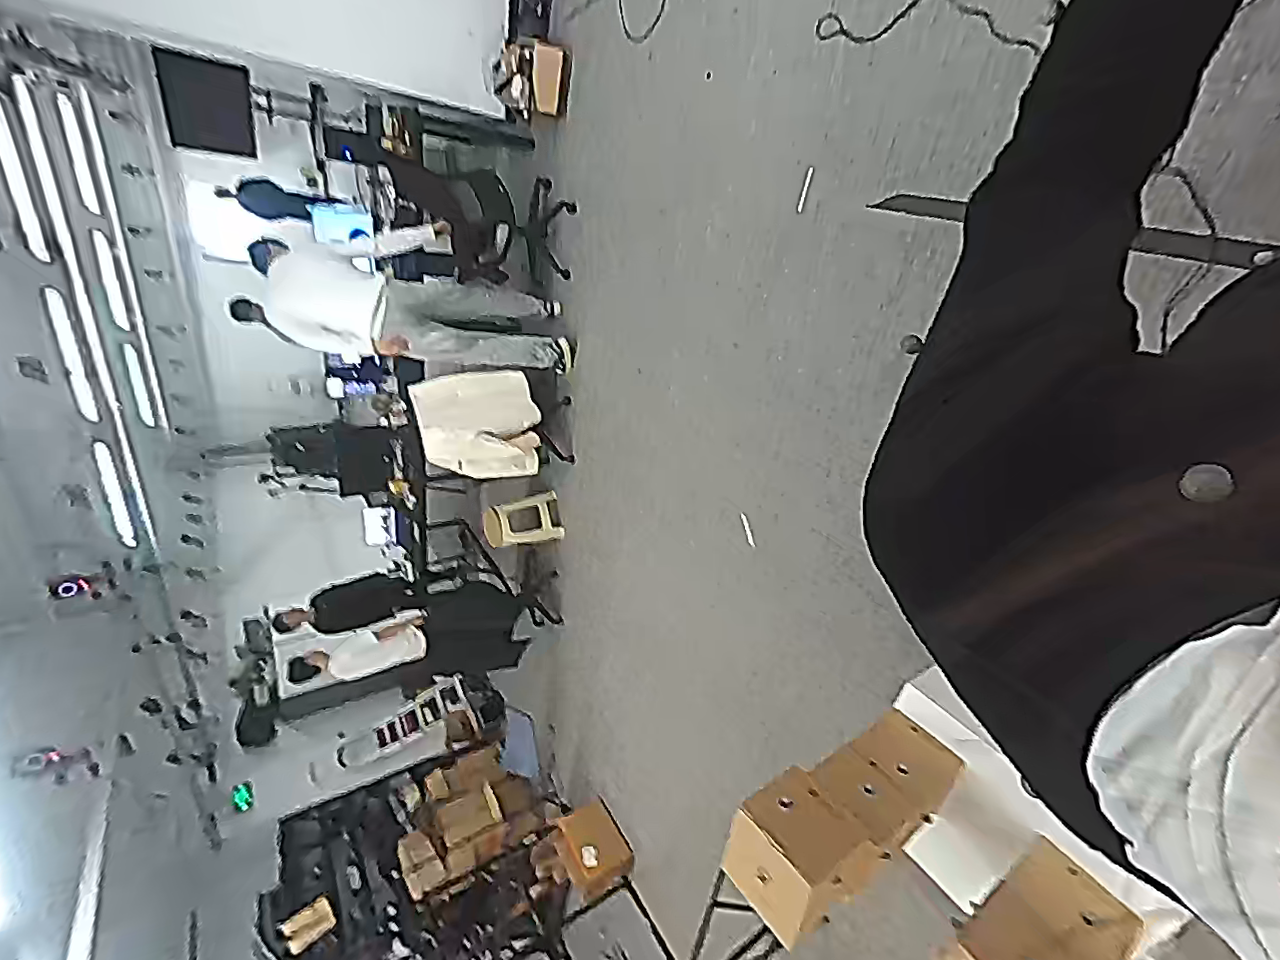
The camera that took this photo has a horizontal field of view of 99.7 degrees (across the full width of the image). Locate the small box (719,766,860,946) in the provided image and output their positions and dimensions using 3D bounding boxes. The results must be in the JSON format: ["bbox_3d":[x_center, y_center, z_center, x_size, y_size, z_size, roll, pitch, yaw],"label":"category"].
[{"bbox_3d":[0.271,0.666,0.981,0.168,0.176,0.179,32,124,47],"label":"small box"}]

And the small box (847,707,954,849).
[{"bbox_3d":[0.540,0.634,1.166,0.168,0.176,0.179,36,126,43],"label":"small box"}]

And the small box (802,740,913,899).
[{"bbox_3d":[0.408,0.659,1.071,0.168,0.176,0.179,37,127,43],"label":"small box"}]

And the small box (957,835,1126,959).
[{"bbox_3d":[0.716,0.786,0.963,0.168,0.176,0.179,40,130,43],"label":"small box"}]
